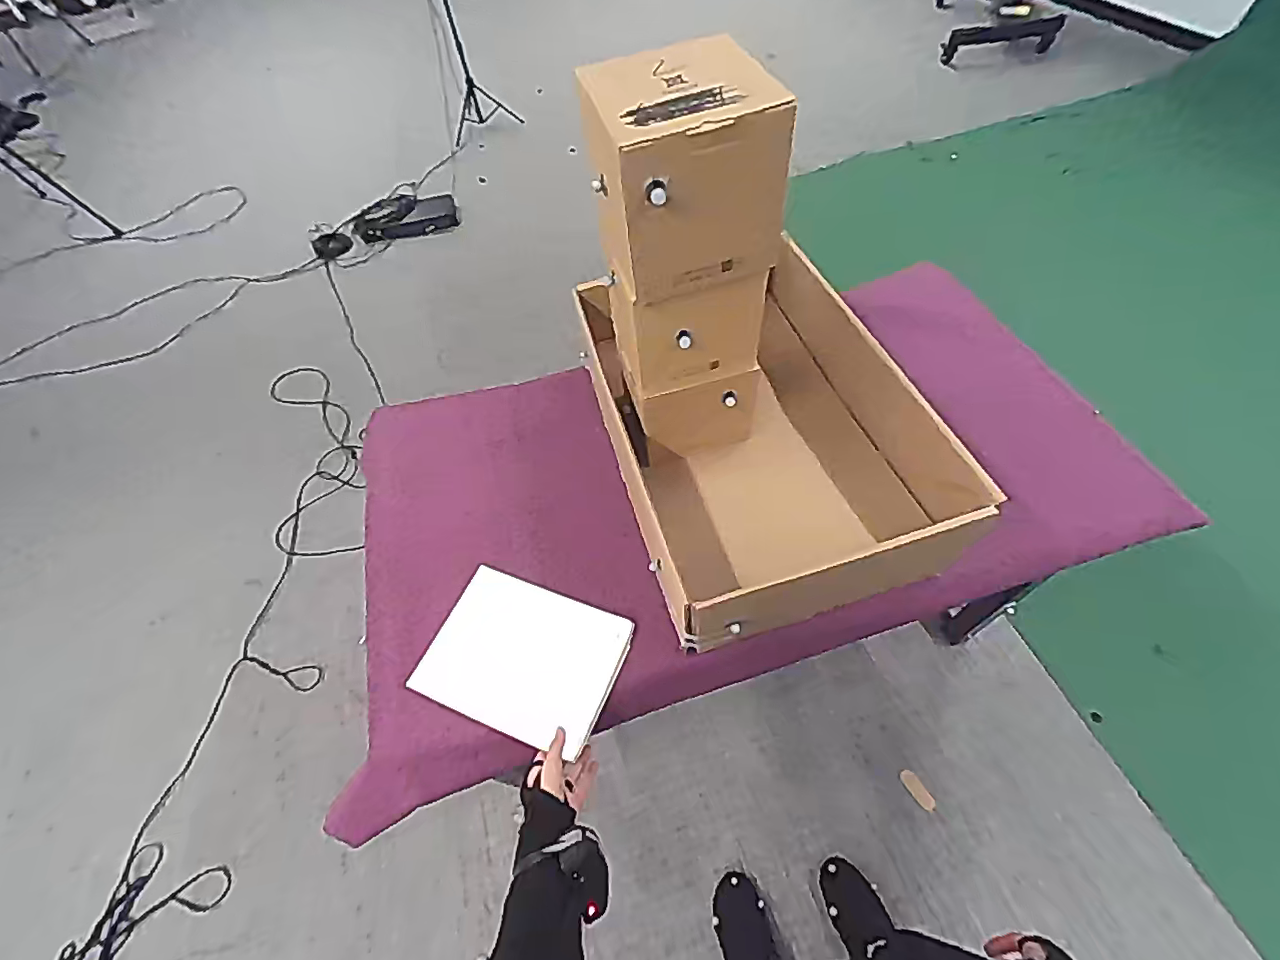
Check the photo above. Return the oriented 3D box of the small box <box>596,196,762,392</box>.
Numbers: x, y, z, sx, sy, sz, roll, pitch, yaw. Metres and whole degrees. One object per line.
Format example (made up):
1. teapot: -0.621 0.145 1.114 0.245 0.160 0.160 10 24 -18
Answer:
1. small box: 0.050 -0.238 0.723 0.168 0.176 0.179 -16 57 -4
